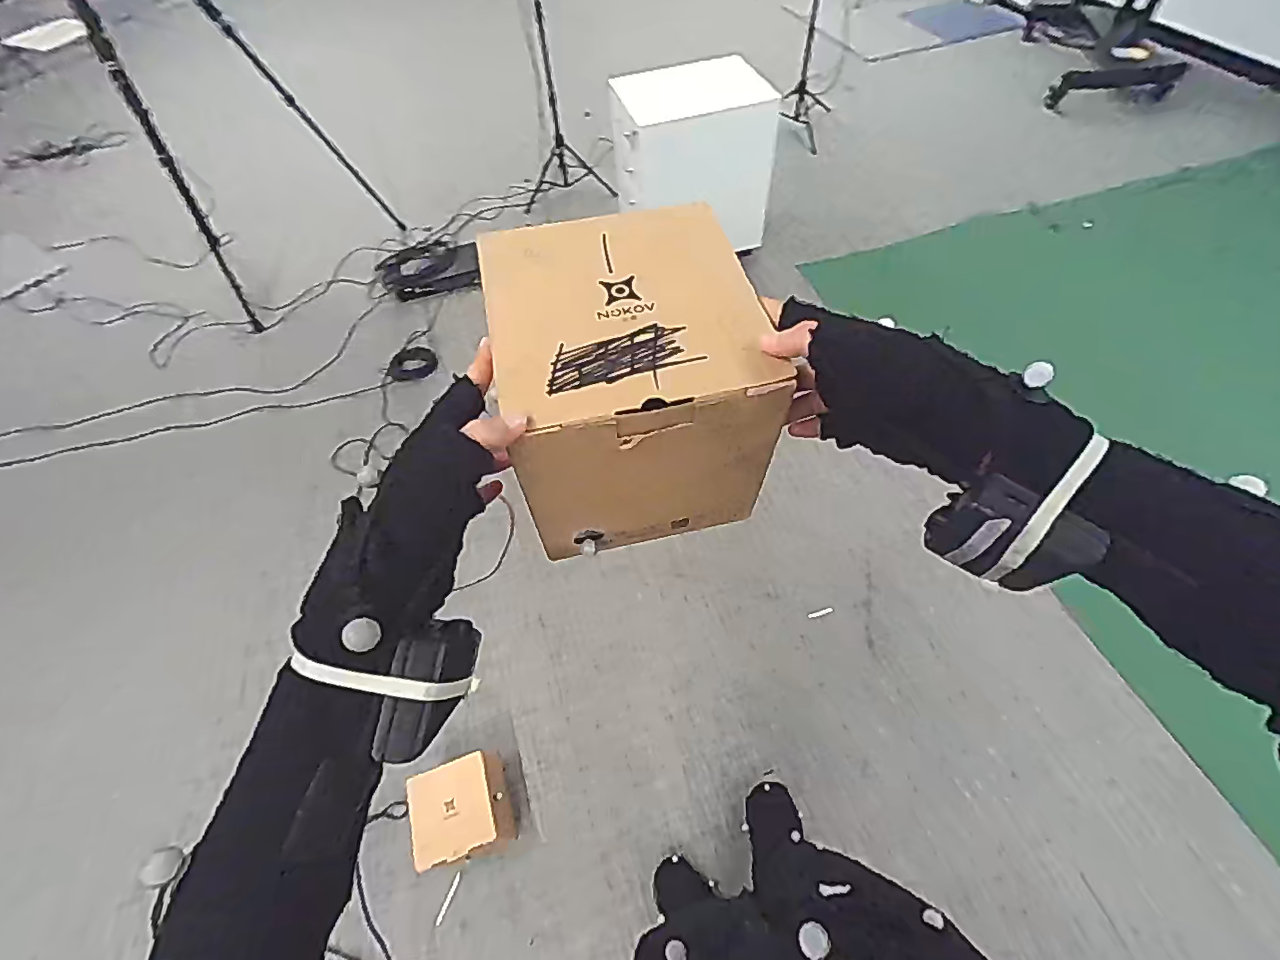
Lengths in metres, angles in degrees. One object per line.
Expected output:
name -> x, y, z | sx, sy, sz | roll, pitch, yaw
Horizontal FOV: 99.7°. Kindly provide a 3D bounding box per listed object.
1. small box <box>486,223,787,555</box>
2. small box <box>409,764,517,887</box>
small box -> -0.010, -0.057, 0.406 | 0.168, 0.176, 0.179 | -10, 57, -6
small box -> -0.381, 0.749, 1.174 | 0.168, 0.176, 0.179 | -19, 57, -8
